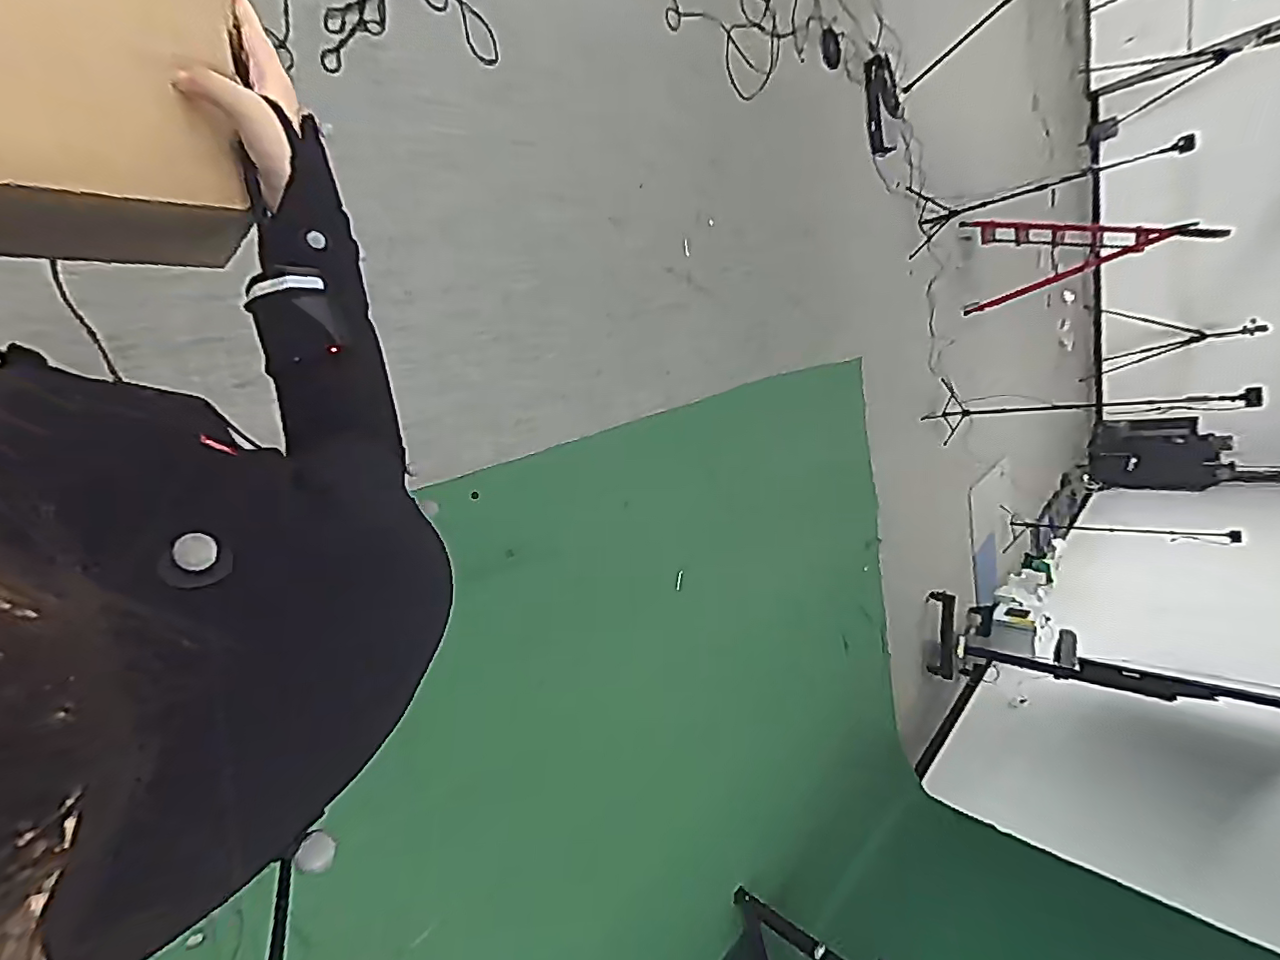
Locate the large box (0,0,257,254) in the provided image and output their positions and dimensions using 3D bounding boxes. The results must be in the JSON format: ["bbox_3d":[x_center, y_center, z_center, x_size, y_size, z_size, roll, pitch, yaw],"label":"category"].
[{"bbox_3d":[-0.556,-0.350,0.382,0.408,0.320,0.320,-14,108,-38],"label":"large box"}]
